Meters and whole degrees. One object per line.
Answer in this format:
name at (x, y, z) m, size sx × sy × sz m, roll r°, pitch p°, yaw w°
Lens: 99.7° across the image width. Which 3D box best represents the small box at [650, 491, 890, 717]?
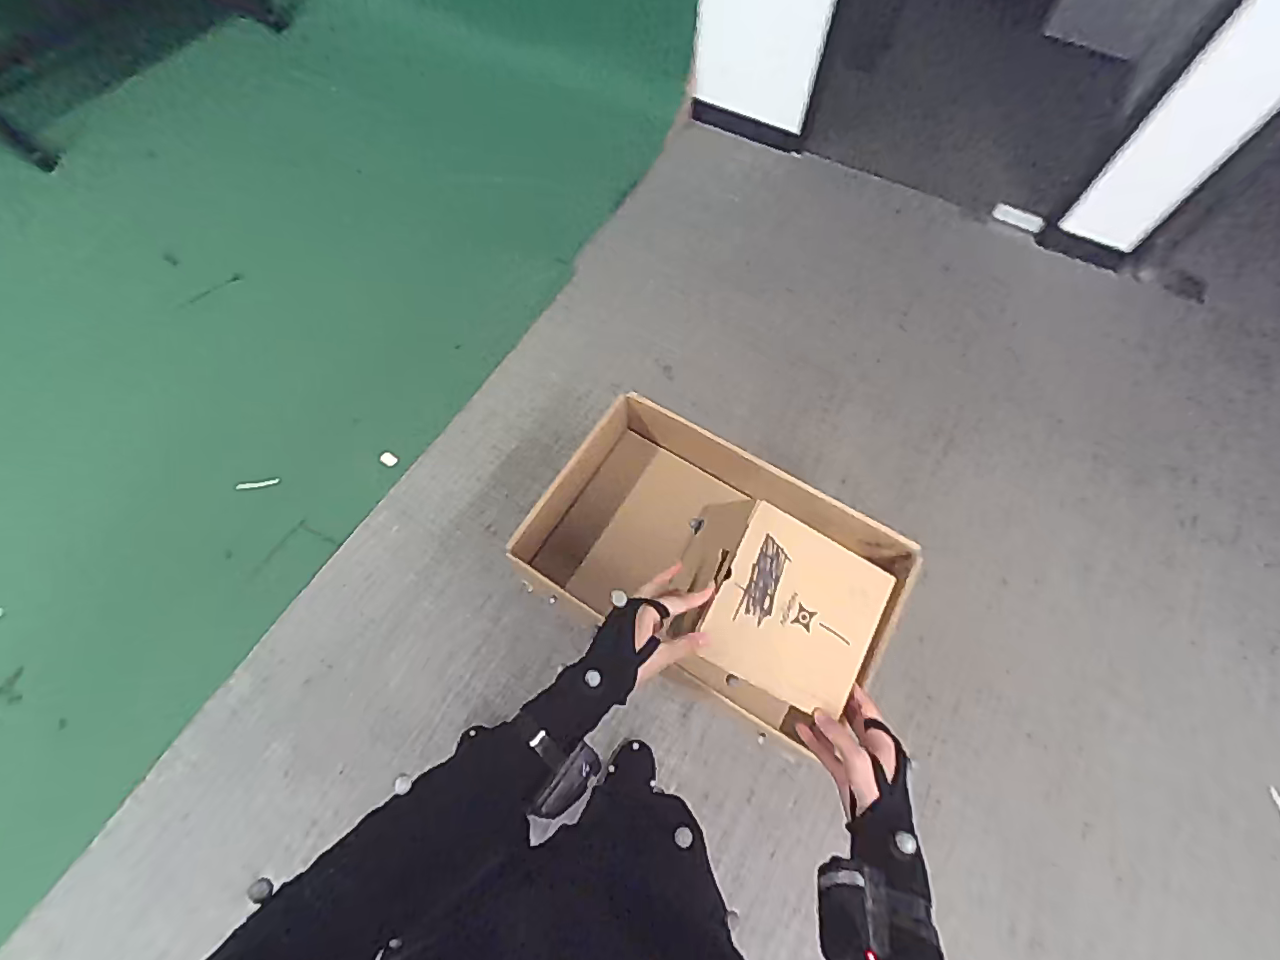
small box at (0.131, 0.131, 0.608) m, size 0.179 × 0.176 × 0.168 m, roll 29°, pitch 78°, yaw -9°
